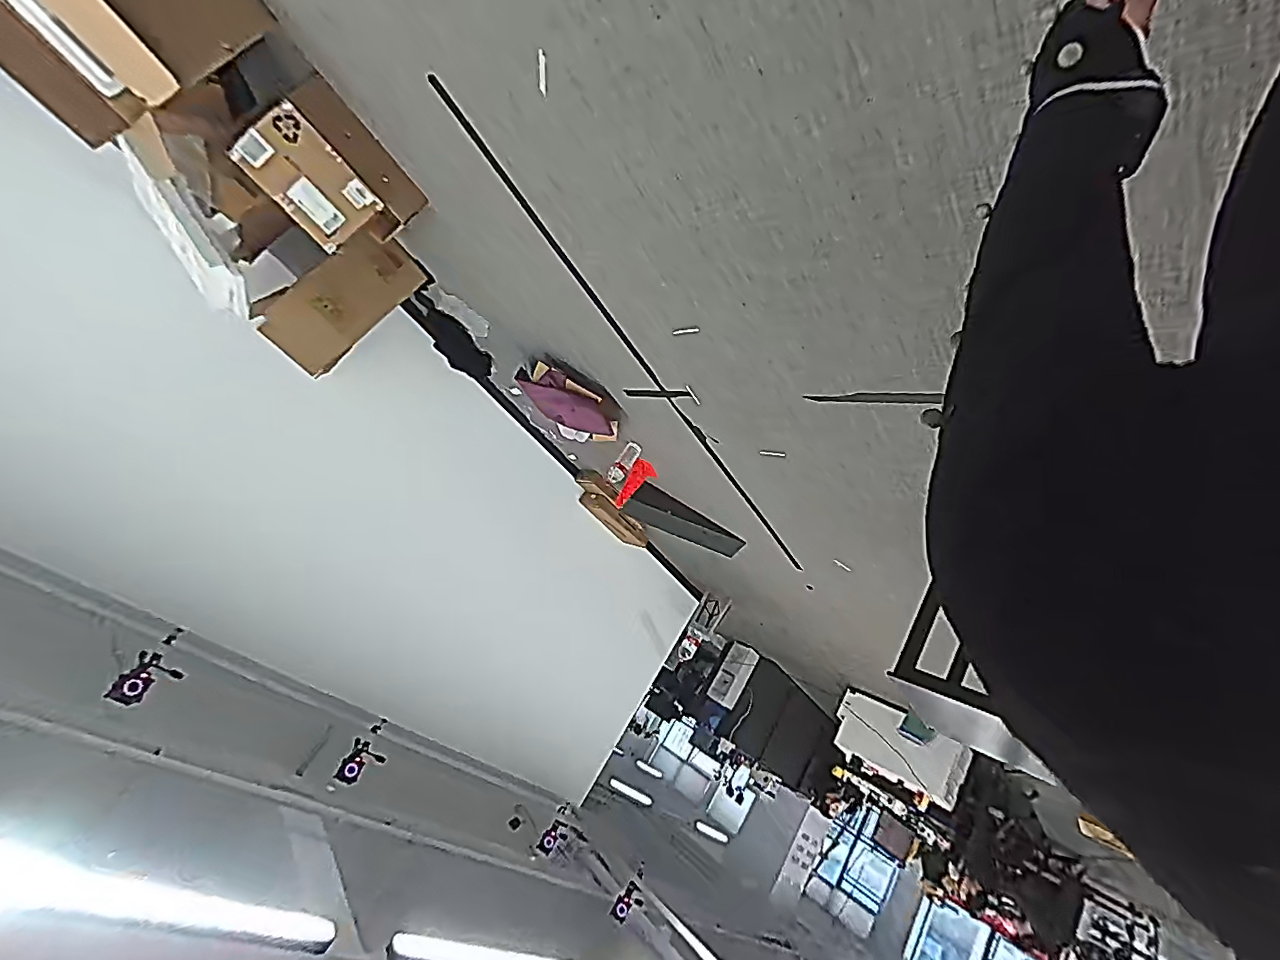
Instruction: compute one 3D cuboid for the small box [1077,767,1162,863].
[{"bbox_3d":[1.470,1.021,1.655,0.168,0.176,0.179,11,150,49],"label":"small box"}]
